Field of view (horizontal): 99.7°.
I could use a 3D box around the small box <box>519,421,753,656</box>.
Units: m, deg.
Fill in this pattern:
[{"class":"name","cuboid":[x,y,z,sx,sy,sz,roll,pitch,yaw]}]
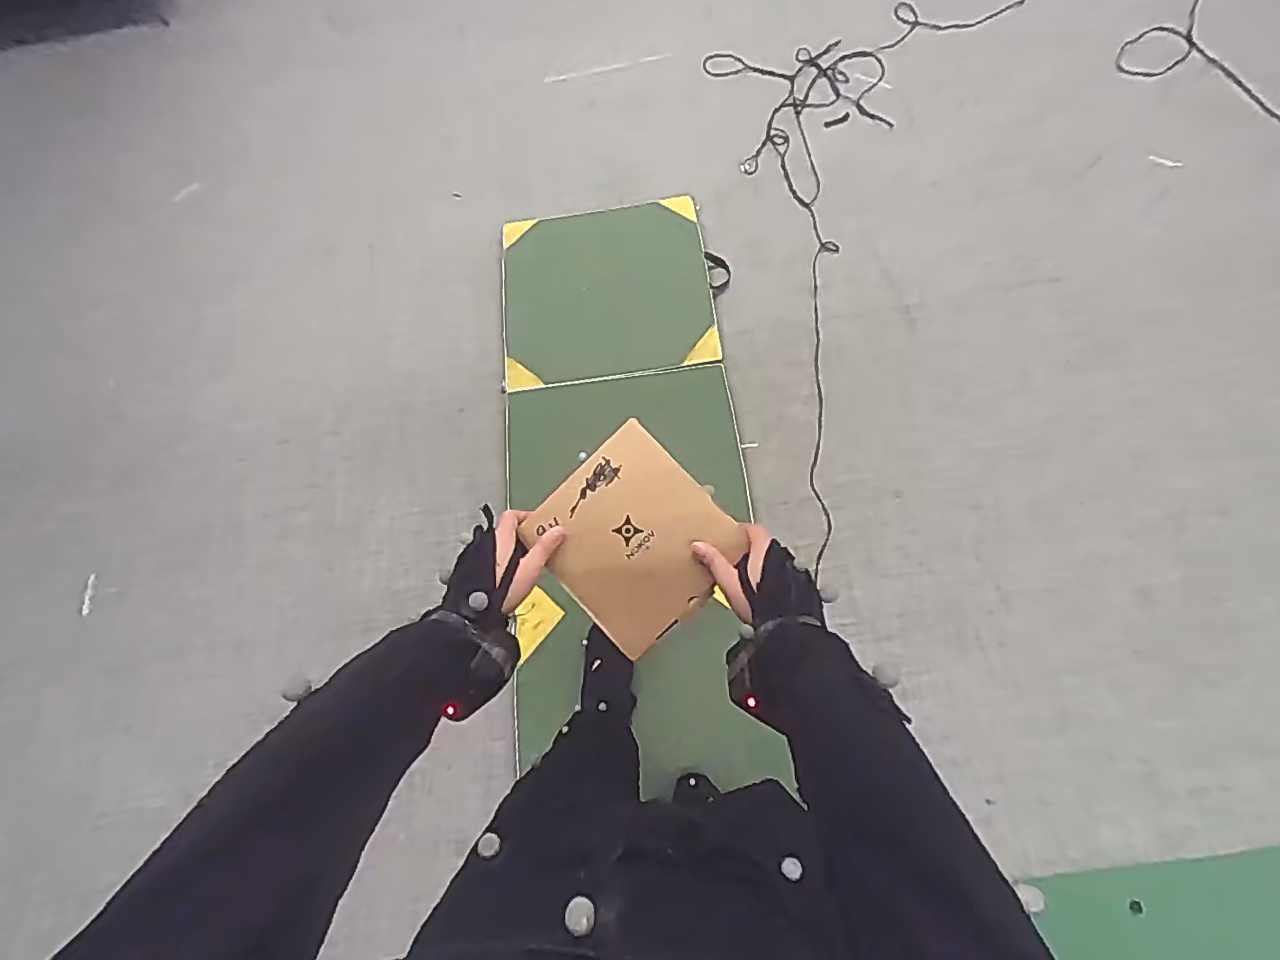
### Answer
[{"class":"small box","cuboid":[0.001,0.061,0.609,0.168,0.176,0.179,-43,83,-1]}]
